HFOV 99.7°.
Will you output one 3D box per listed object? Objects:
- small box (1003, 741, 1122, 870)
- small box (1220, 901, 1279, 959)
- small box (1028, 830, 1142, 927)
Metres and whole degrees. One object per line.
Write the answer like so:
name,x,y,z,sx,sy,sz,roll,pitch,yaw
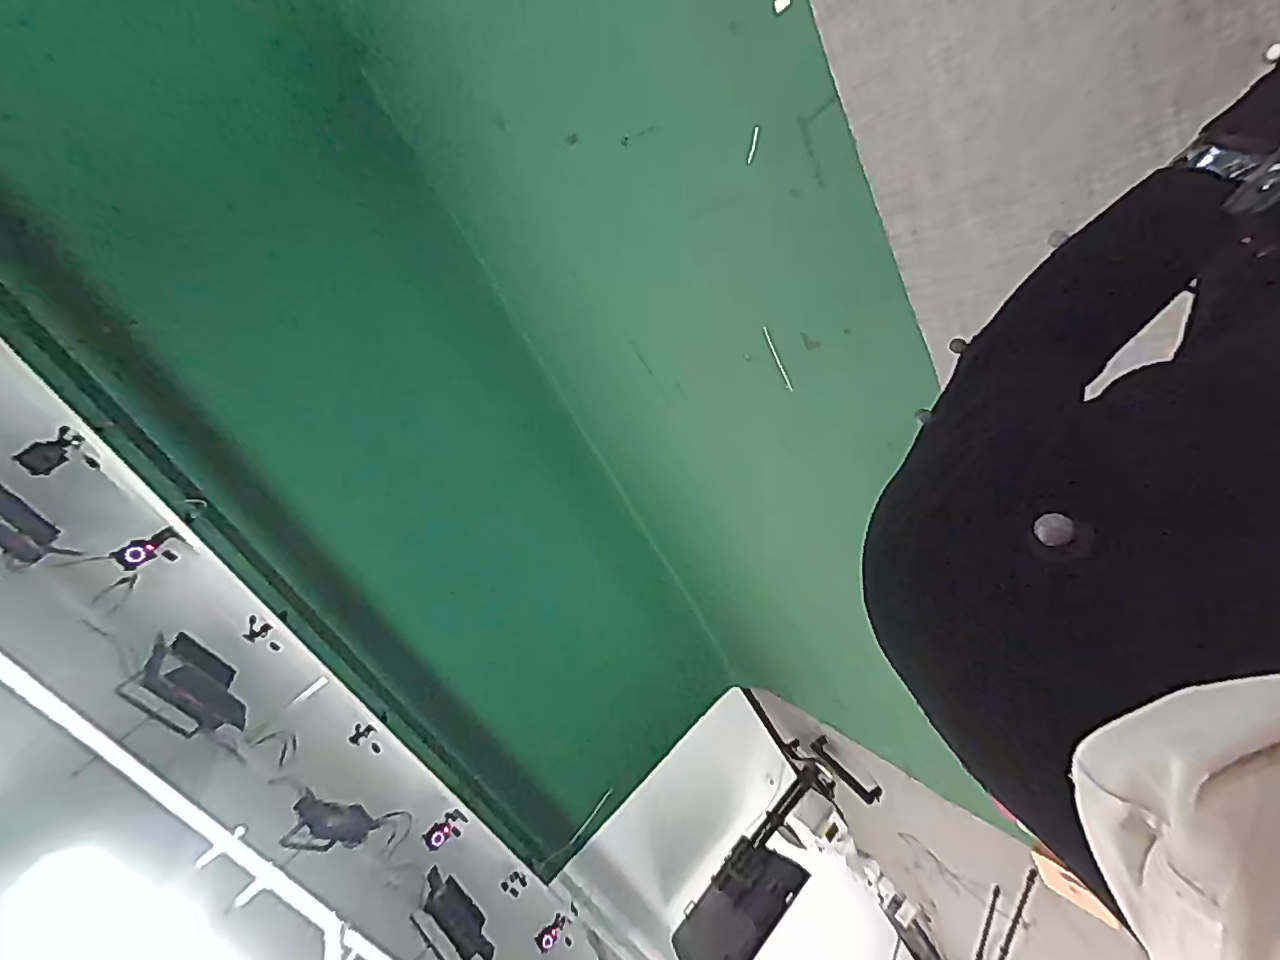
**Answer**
small box,1.025,0.774,1.306,0.179,0.176,0.168,9,135,59
small box,1.321,0.996,1.078,0.168,0.176,0.179,57,158,-18
small box,1.147,0.974,1.392,0.179,0.176,0.168,57,158,-20
